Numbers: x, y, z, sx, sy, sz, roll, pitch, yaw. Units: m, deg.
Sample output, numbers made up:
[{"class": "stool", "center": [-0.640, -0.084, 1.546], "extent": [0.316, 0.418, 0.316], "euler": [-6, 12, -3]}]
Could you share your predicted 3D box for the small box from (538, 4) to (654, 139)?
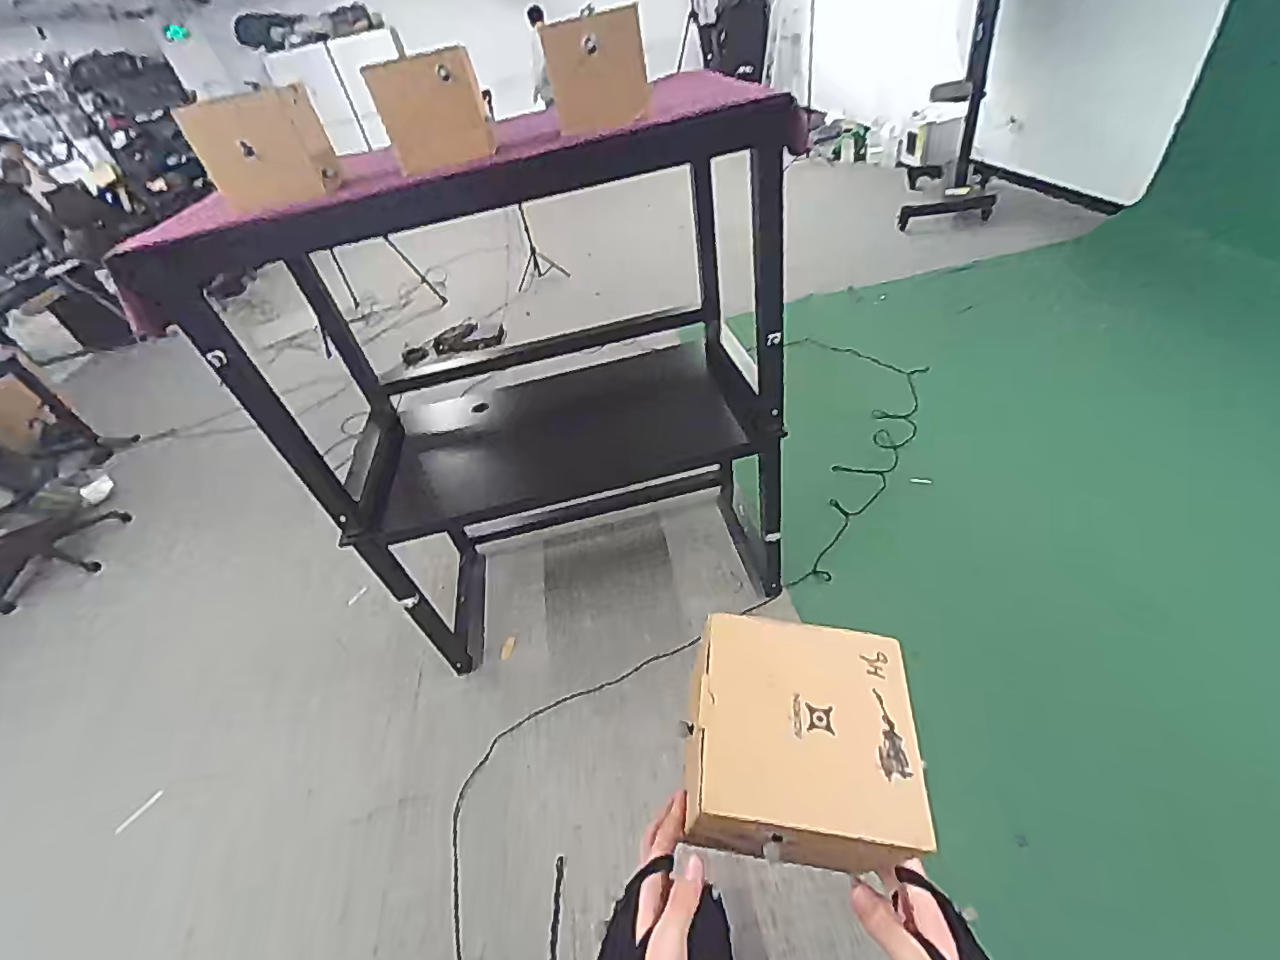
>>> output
[{"class": "small box", "center": [-0.080, -0.757, 1.009], "extent": [0.179, 0.176, 0.168], "euler": [-12, 41, 2]}]

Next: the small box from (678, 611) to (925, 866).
[{"class": "small box", "center": [0.132, 0.245, 0.508], "extent": [0.179, 0.176, 0.168], "euler": [7, 49, 4]}]

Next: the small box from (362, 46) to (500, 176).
[{"class": "small box", "center": [-0.378, -0.687, 1.011], "extent": [0.179, 0.176, 0.168], "euler": [-14, 40, -2]}]

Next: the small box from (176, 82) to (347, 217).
[{"class": "small box", "center": [-0.678, -0.609, 0.997], "extent": [0.179, 0.176, 0.168], "euler": [-16, 40, -2]}]
